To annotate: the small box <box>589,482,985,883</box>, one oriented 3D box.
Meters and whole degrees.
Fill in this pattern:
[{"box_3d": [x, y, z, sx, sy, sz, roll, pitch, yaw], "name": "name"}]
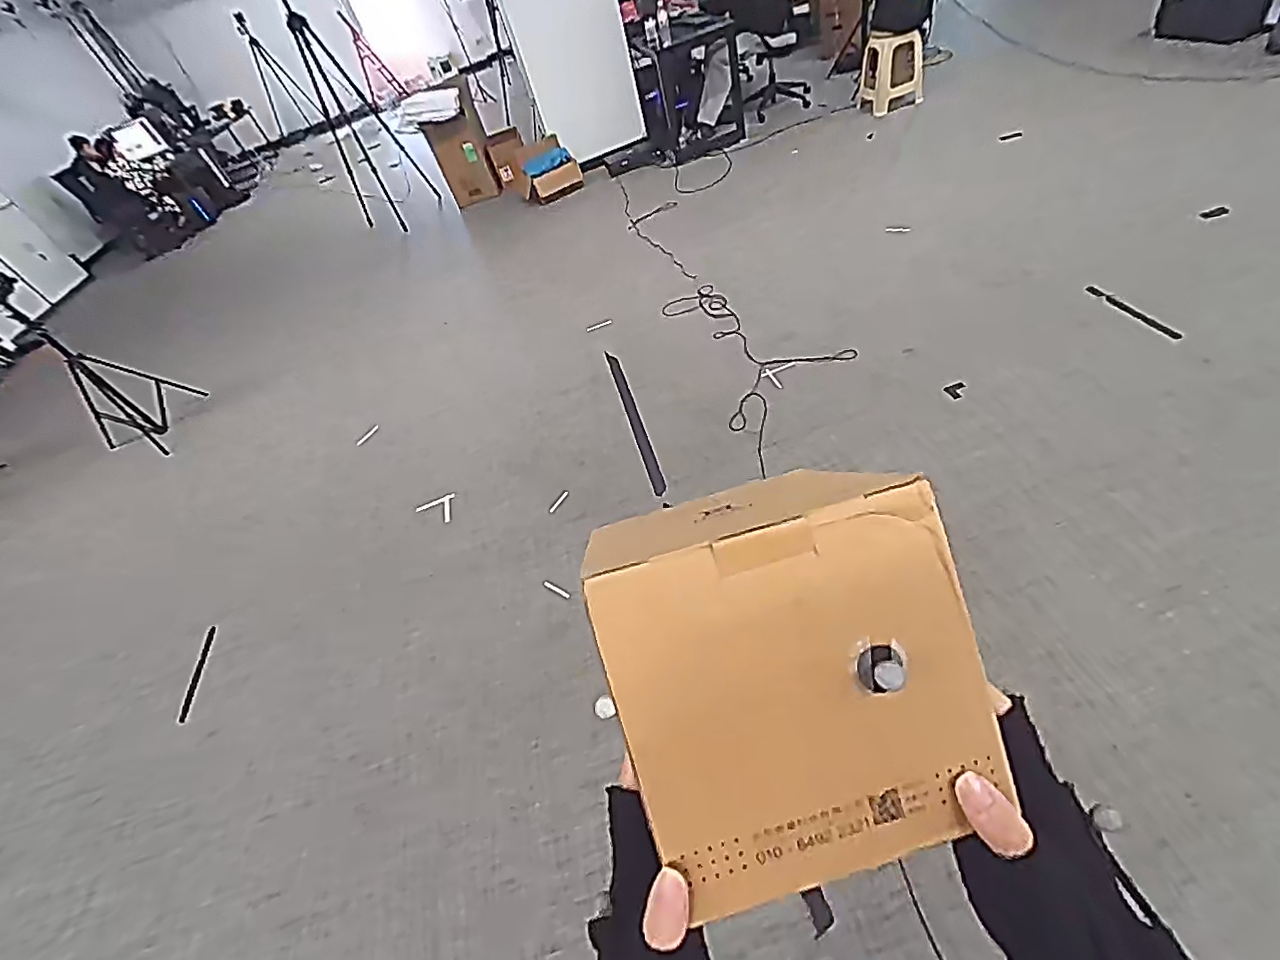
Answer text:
[{"box_3d": [0.074, 0.108, 0.341, 0.168, 0.176, 0.179, -16, 2, -1], "name": "small box"}]
